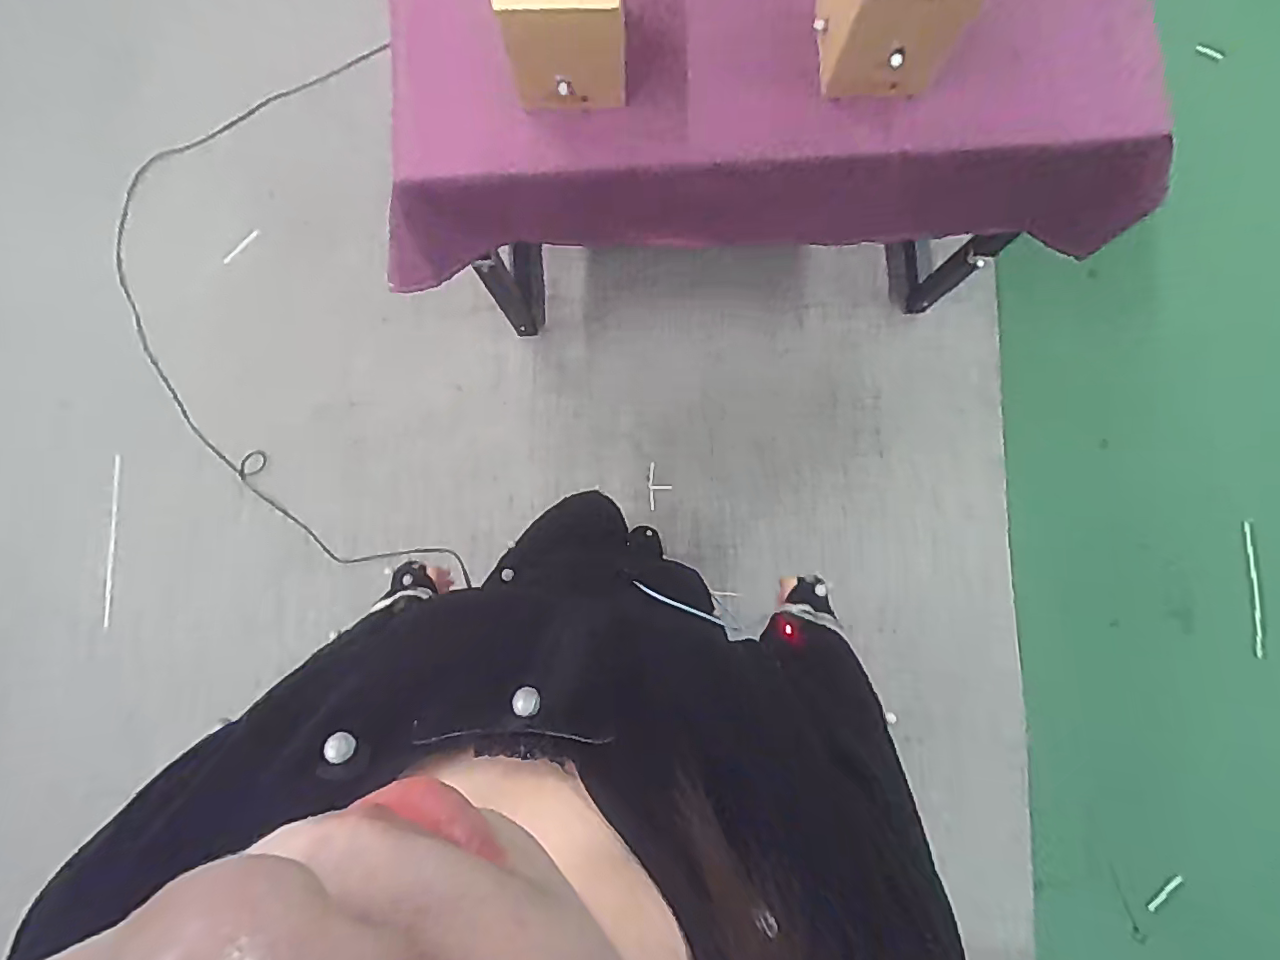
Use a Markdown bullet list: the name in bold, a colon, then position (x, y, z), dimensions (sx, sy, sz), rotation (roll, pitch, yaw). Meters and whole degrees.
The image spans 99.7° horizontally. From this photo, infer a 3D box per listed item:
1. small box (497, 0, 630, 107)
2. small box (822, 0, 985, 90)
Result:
- **small box**: position (-0.100, -0.676, 0.768), dimensions (0.168, 0.176, 0.179), rotation (0, 86, 0)
- **small box**: position (0.367, -0.691, 0.767), dimensions (0.168, 0.176, 0.179), rotation (-1, 86, 0)
